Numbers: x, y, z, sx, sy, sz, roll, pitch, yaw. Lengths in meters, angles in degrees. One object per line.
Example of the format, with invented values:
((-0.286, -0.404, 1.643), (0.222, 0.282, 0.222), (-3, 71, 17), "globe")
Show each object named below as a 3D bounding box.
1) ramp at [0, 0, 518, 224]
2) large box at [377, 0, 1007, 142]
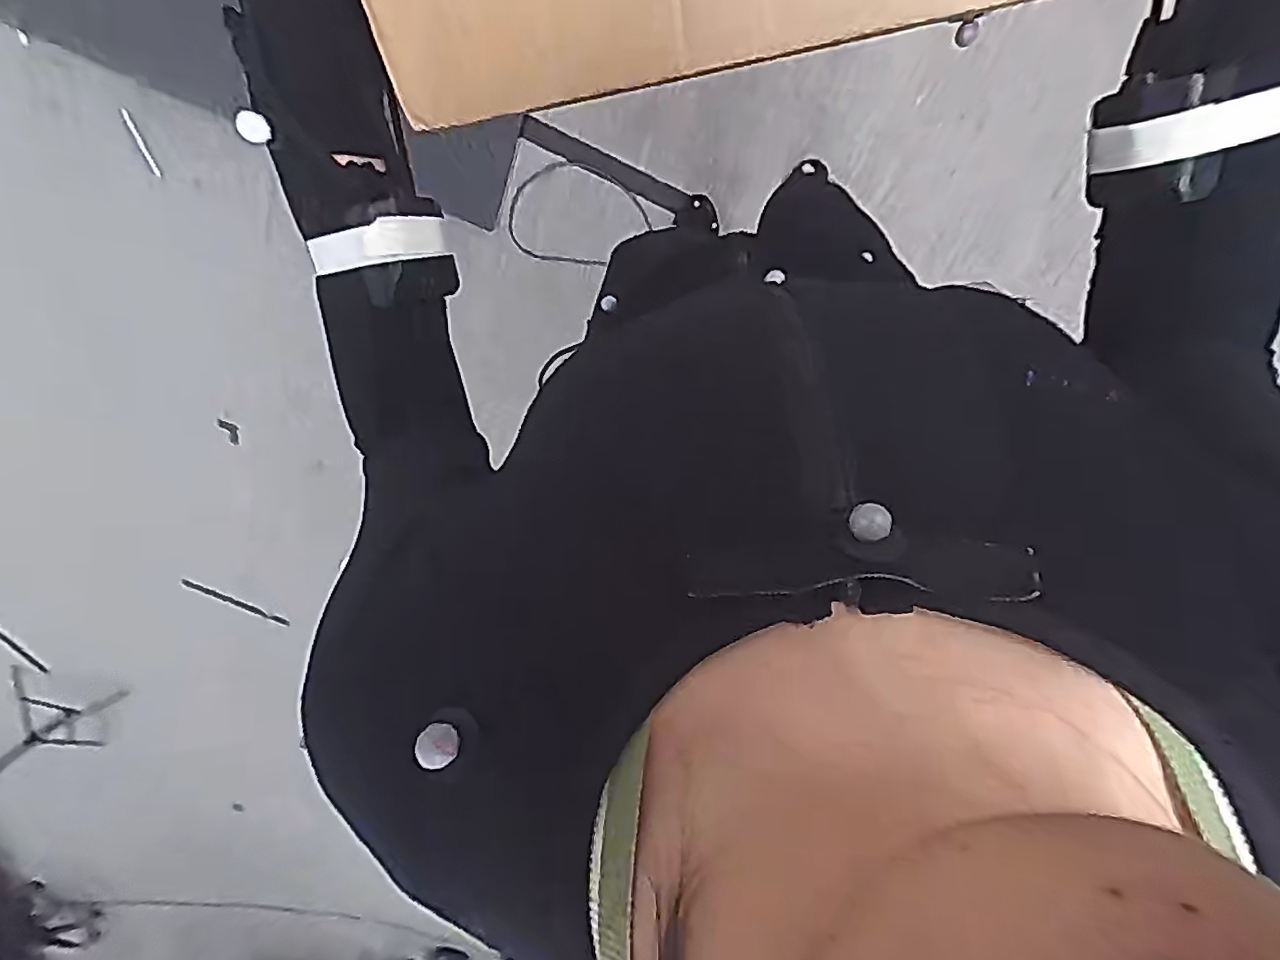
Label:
((-0.726, -0.970, 1.092), (0.991, 0.206, 0.509), (22, 117, -6), "ramp")
((0.040, -0.449, 0.333), (0.408, 0.320, 0.320), (-7, 126, 10), "large box")
